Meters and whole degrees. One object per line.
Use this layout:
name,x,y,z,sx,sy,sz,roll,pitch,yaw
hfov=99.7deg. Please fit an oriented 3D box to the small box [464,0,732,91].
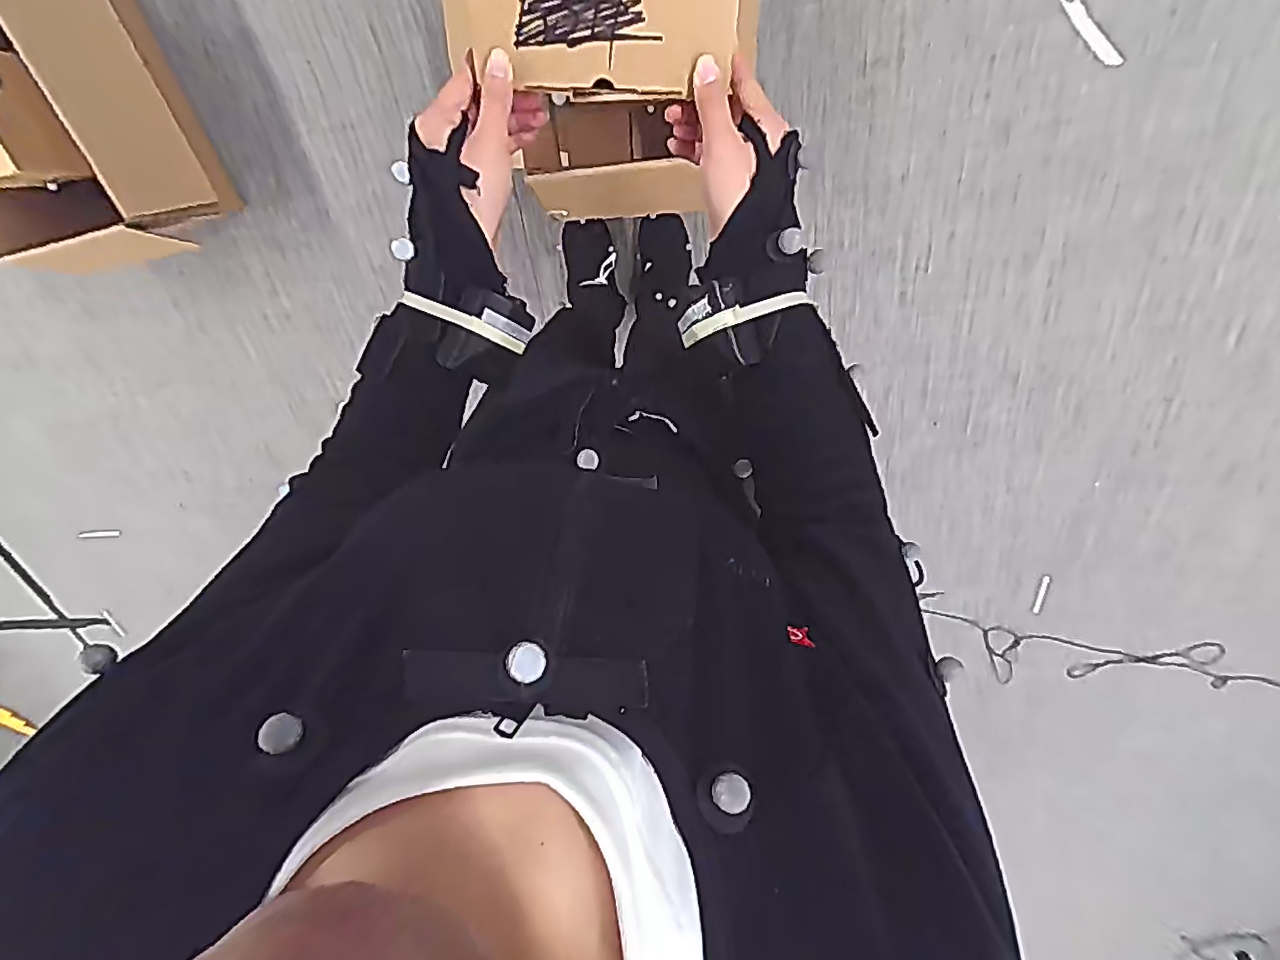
small box,-0.020,-0.373,0.360,0.168,0.176,0.179,3,127,0

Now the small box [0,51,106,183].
small box,-1.099,-0.614,0.921,0.168,0.176,0.179,-5,121,10
